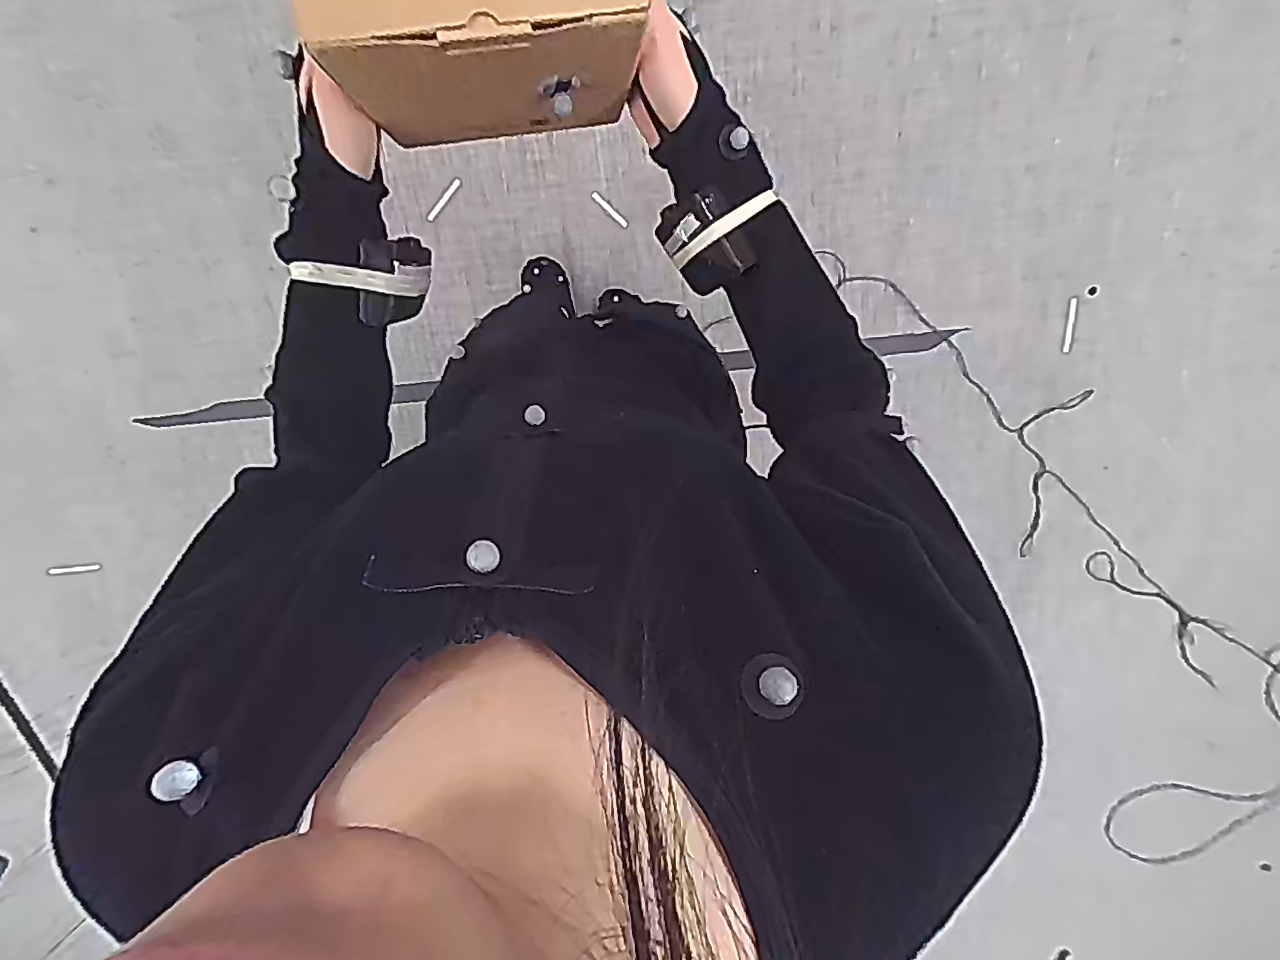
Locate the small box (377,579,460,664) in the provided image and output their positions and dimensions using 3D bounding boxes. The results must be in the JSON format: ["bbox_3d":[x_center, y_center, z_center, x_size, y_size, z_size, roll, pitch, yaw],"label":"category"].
[{"bbox_3d":[-0.641,0.405,1.573,0.179,0.176,0.168,9,108,-5],"label":"small box"}]
